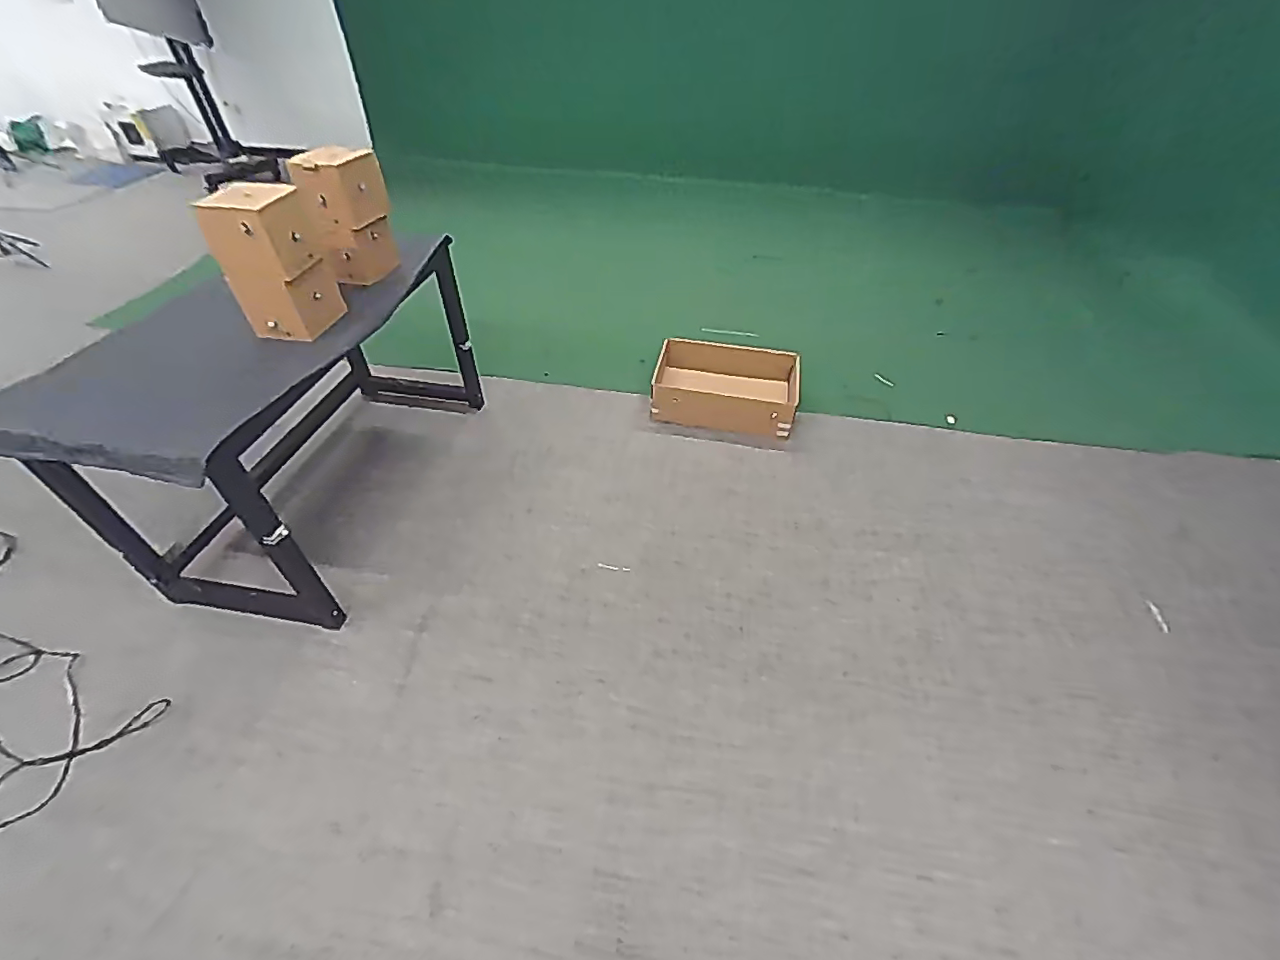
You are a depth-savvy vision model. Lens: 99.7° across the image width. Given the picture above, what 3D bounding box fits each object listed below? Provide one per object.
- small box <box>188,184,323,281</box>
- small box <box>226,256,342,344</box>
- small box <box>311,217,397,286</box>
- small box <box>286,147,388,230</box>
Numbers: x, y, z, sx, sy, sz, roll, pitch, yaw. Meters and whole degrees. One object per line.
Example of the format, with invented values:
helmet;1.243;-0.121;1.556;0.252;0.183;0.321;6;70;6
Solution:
small box;-0.915;-0.598;1.311;0.179;0.176;0.168;6;45;7
small box;-0.924;-0.483;1.430;0.168;0.176;0.179;7;46;8
small box;-0.884;-0.718;1.672;0.168;0.176;0.179;10;44;9
small box;-0.863;-0.841;1.564;0.168;0.176;0.179;12;46;11
